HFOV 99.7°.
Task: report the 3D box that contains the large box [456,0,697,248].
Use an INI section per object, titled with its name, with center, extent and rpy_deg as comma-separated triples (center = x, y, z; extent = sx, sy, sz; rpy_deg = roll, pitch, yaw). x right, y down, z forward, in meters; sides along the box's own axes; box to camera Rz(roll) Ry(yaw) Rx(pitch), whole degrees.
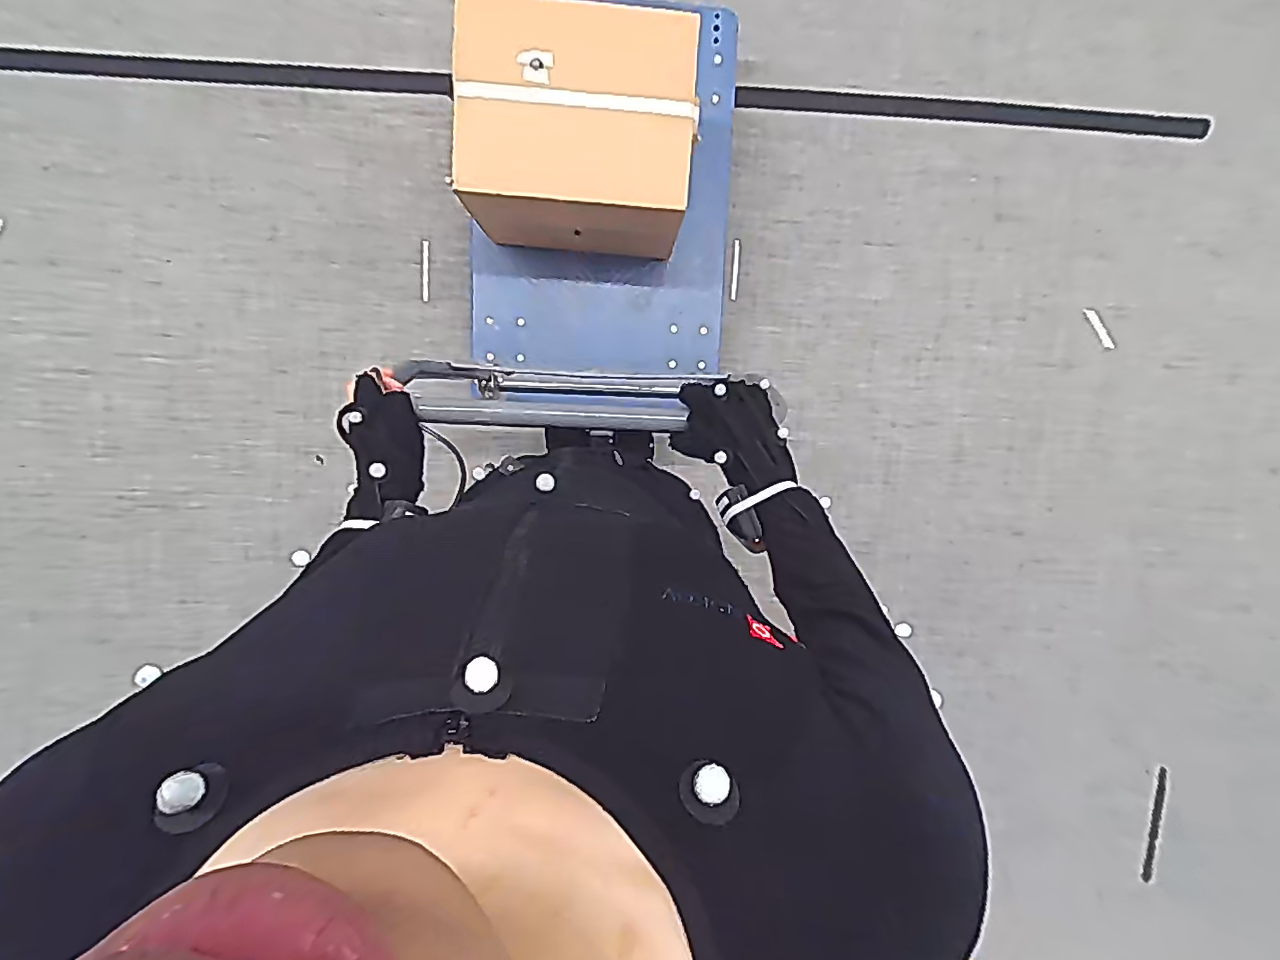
[large box]
center = -0.111, -0.661, 1.057
extent = 0.408, 0.320, 0.320
rpy_deg = 4, 98, -2

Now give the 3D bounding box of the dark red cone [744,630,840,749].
[dark red cone]
center = 0.405, 0.546, 1.369
extent = 0.201, 0.394, 0.202
rpy_deg = 2, 98, -4

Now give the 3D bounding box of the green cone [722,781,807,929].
[green cone]
center = 0.361, 1.022, 1.451
extent = 0.202, 0.368, 0.200
rpy_deg = 6, 98, -4
